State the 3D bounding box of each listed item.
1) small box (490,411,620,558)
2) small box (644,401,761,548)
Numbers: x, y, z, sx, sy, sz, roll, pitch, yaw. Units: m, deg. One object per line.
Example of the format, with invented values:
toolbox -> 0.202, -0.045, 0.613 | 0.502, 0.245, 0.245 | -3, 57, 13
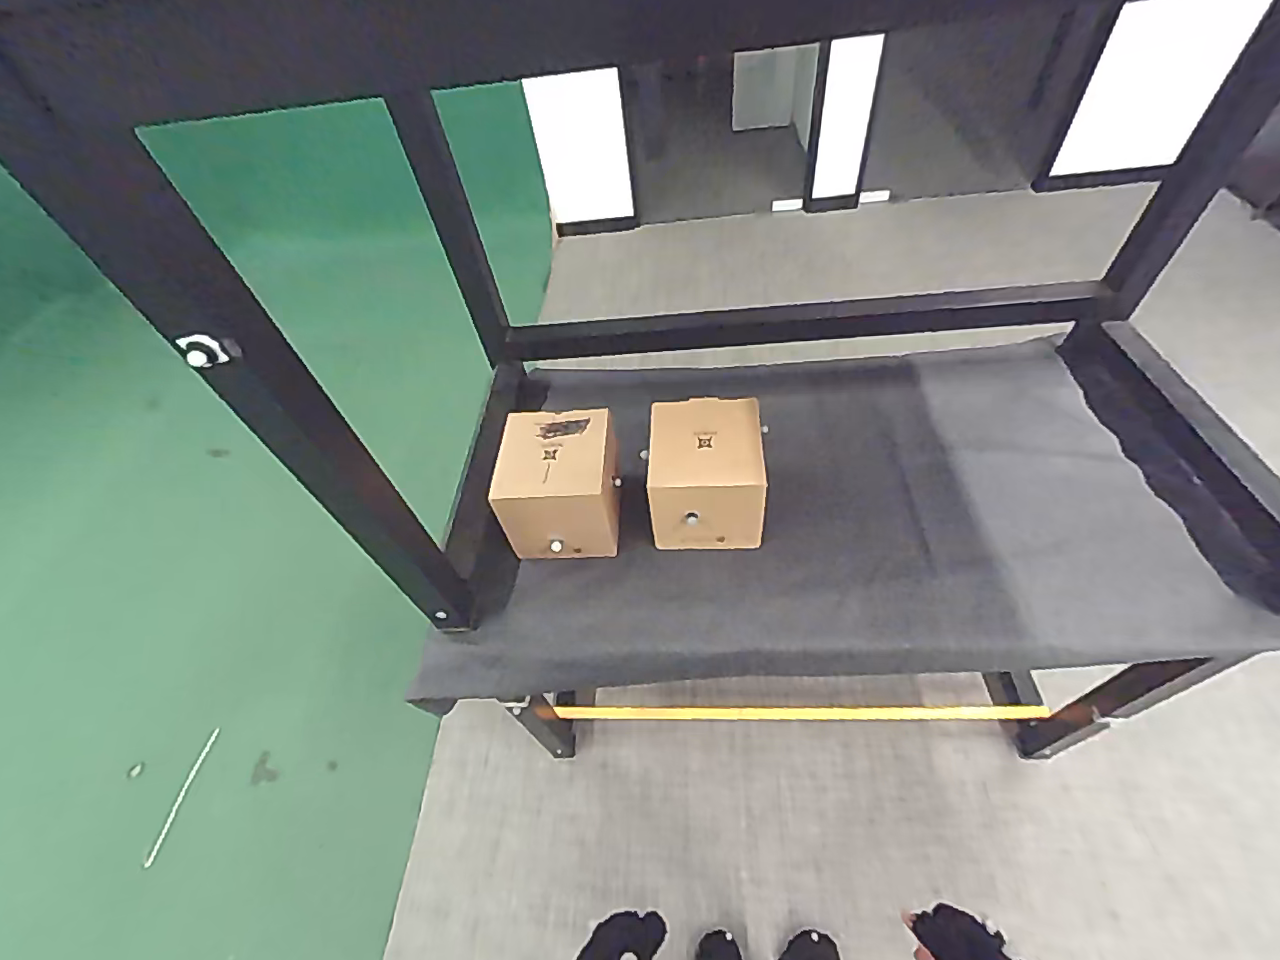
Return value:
small box -> -0.125, 0.009, 0.880 | 0.168, 0.176, 0.179 | -2, 51, 6
small box -> 0.101, -0.004, 0.865 | 0.168, 0.176, 0.179 | -1, 50, 6
